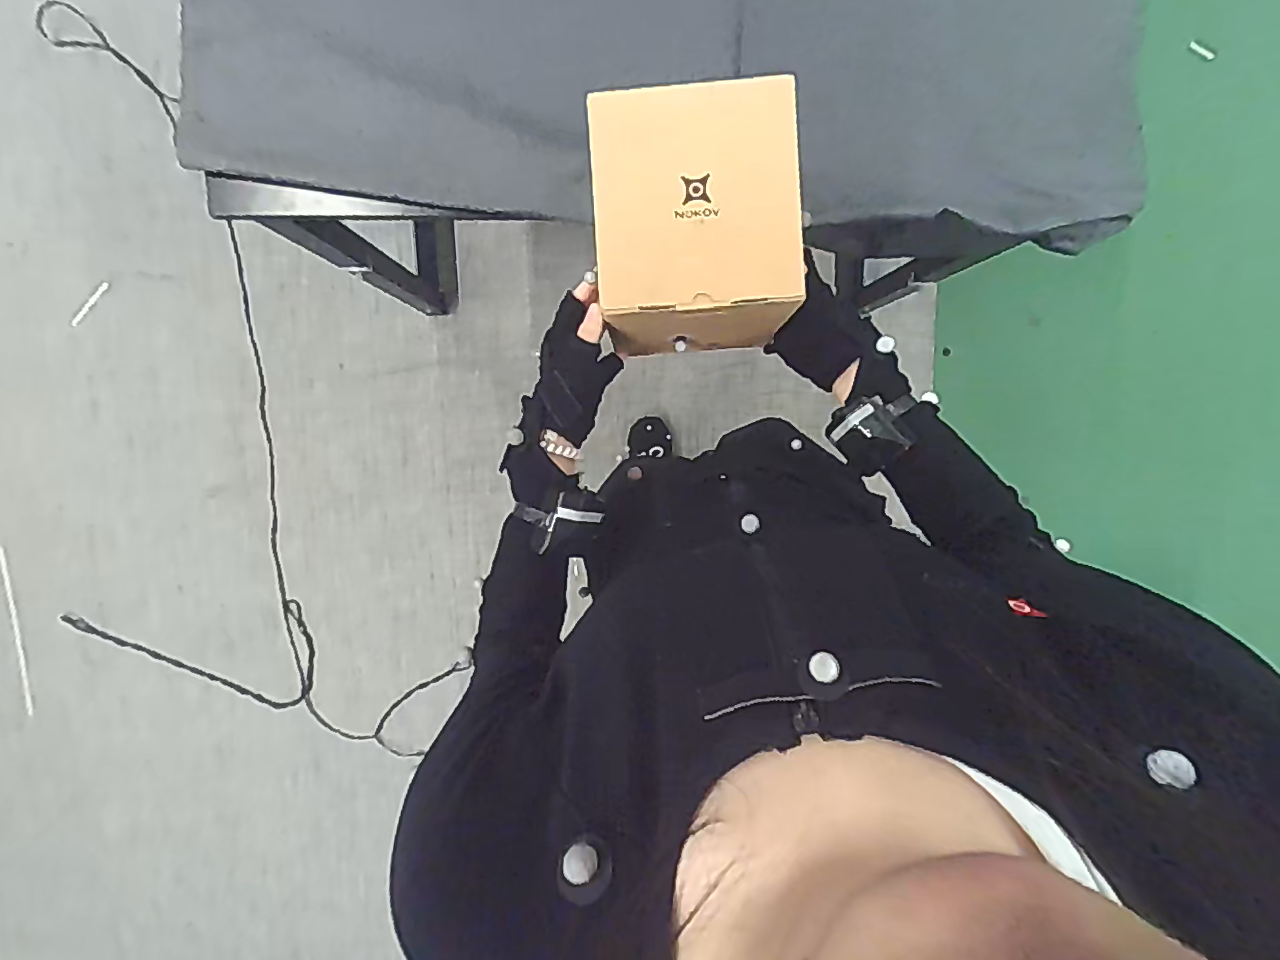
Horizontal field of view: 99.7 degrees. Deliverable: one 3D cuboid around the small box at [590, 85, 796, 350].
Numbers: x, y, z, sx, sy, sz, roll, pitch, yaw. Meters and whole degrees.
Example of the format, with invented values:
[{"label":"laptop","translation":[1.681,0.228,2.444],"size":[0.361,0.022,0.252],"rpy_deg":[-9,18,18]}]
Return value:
[{"label":"small box","translation":[0.045,-0.233,0.522],"size":[0.168,0.176,0.179],"rpy_deg":[-4,93,2]}]
